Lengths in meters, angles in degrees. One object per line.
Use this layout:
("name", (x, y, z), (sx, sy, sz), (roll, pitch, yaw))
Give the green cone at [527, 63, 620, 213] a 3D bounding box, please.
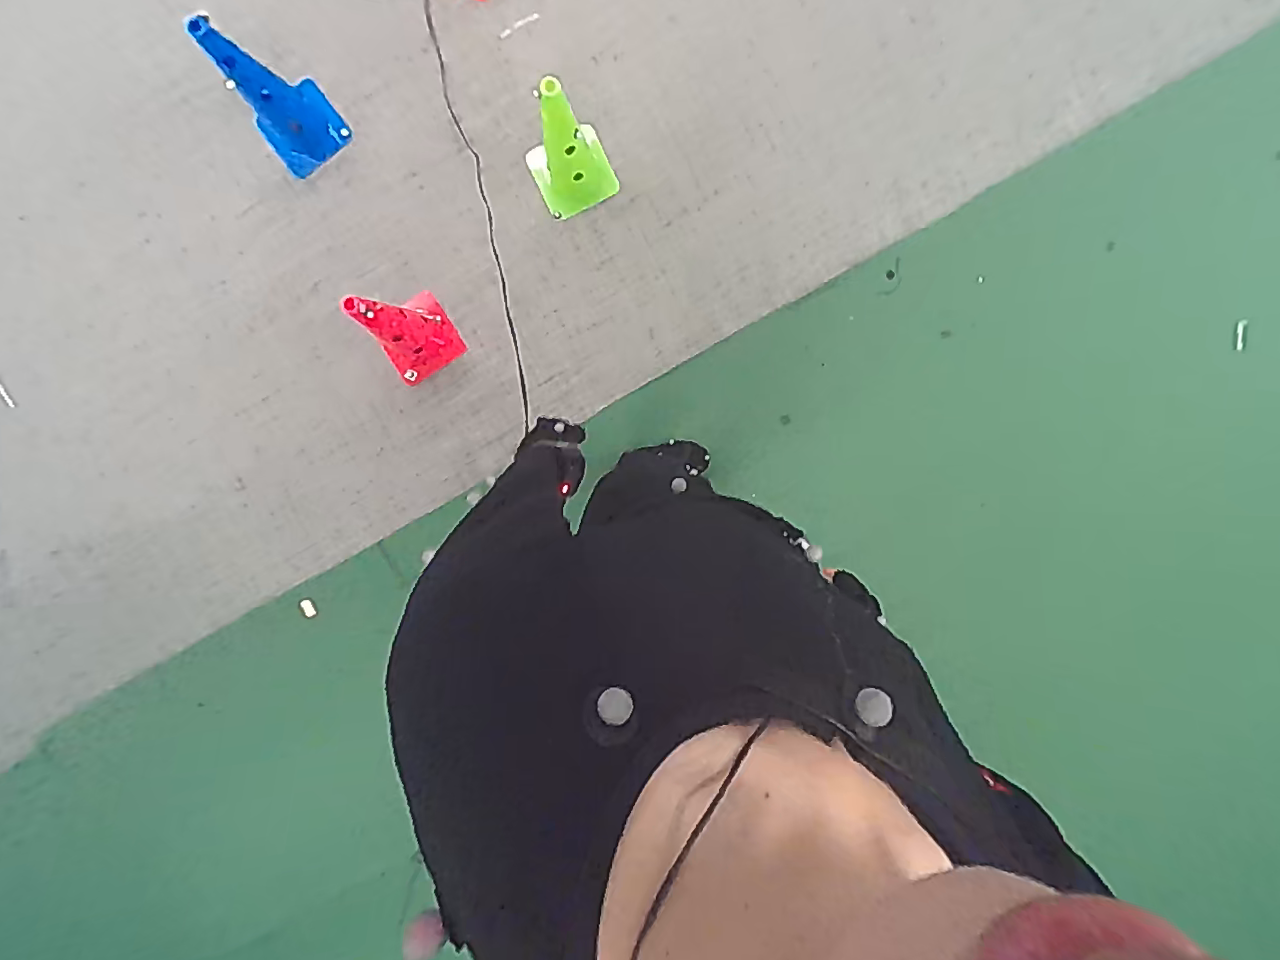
("green cone", (-0.180, -0.830, 1.271), (0.200, 0.368, 0.202), (-27, 92, 2))
